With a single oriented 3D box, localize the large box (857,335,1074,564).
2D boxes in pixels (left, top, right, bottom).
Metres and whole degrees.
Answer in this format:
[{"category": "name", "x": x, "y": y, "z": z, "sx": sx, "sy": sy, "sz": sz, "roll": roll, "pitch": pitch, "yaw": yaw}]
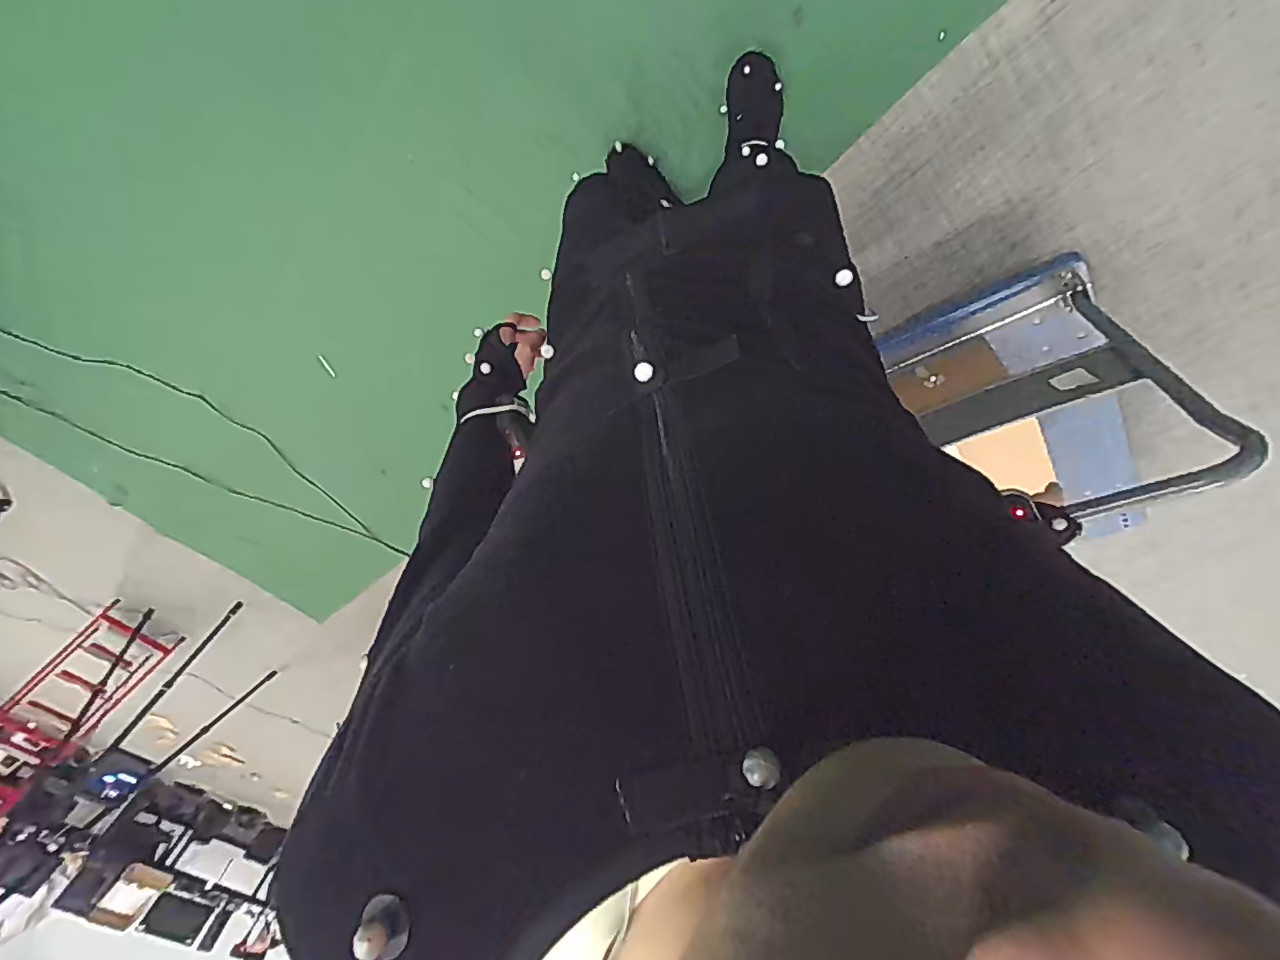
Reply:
[{"category": "large box", "x": 0.780, "y": -0.068, "z": 1.330, "sx": 0.320, "sy": 0.320, "sz": 0.408, "roll": -23, "pitch": 122, "yaw": 29}]
